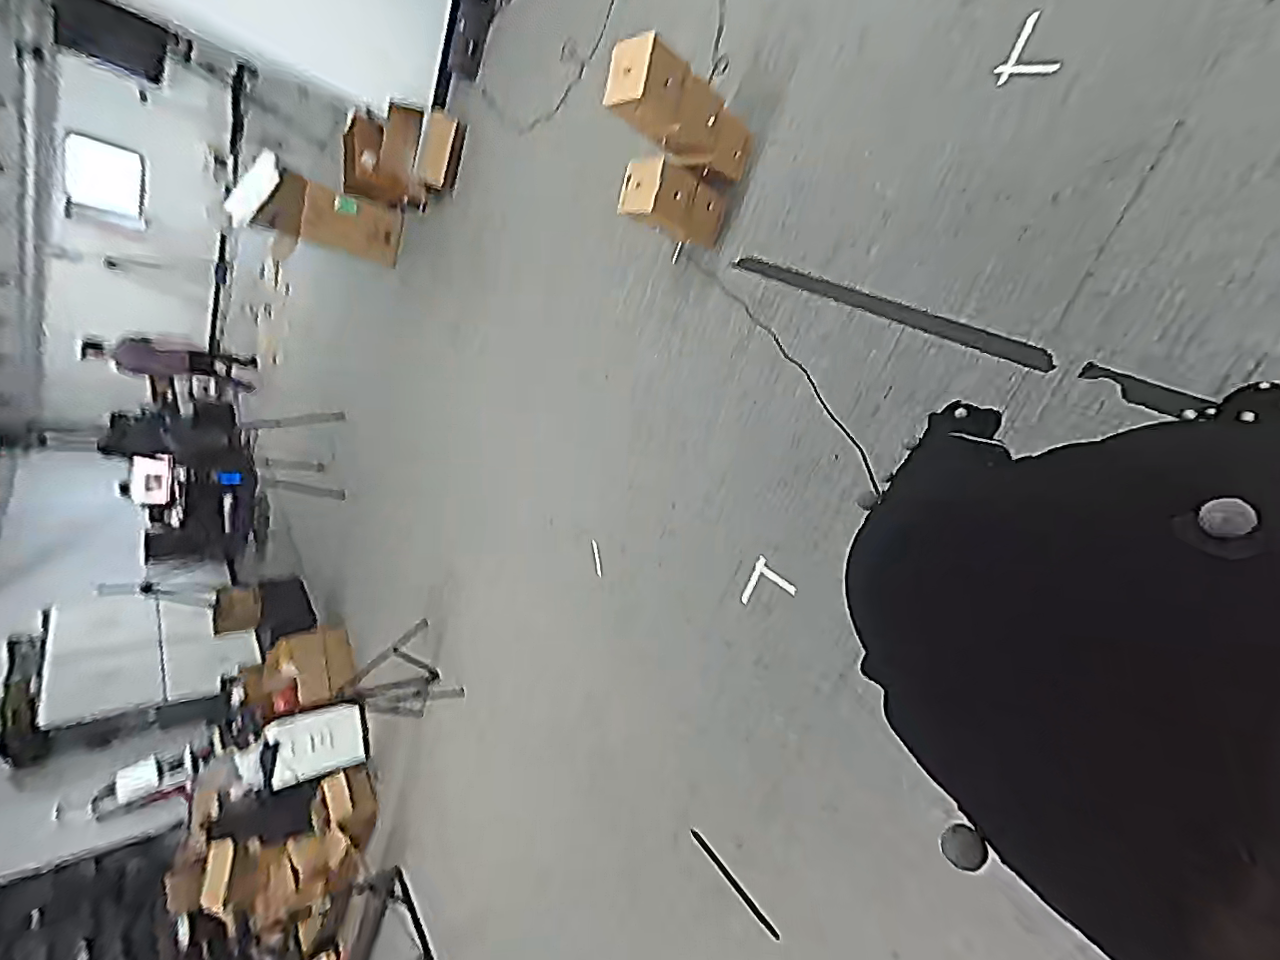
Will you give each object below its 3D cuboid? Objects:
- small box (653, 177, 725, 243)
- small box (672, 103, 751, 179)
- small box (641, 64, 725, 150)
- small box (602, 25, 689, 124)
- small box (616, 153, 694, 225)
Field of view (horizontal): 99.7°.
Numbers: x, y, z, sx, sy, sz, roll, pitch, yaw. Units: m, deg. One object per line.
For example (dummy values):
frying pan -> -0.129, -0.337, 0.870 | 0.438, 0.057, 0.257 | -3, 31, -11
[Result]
small box -> 0.171, -0.954, 1.908 | 0.179, 0.176, 0.168 | 33, 110, 41
small box -> 0.245, -1.147, 1.842 | 0.179, 0.176, 0.168 | 27, 107, 41
small box -> 0.136, -1.177, 1.720 | 0.179, 0.176, 0.168 | 27, 108, 40
small box -> 0.020, -1.190, 1.603 | 0.179, 0.176, 0.168 | 24, 105, 42
small box -> 0.053, -0.961, 1.794 | 0.179, 0.176, 0.168 | 27, 107, 41
